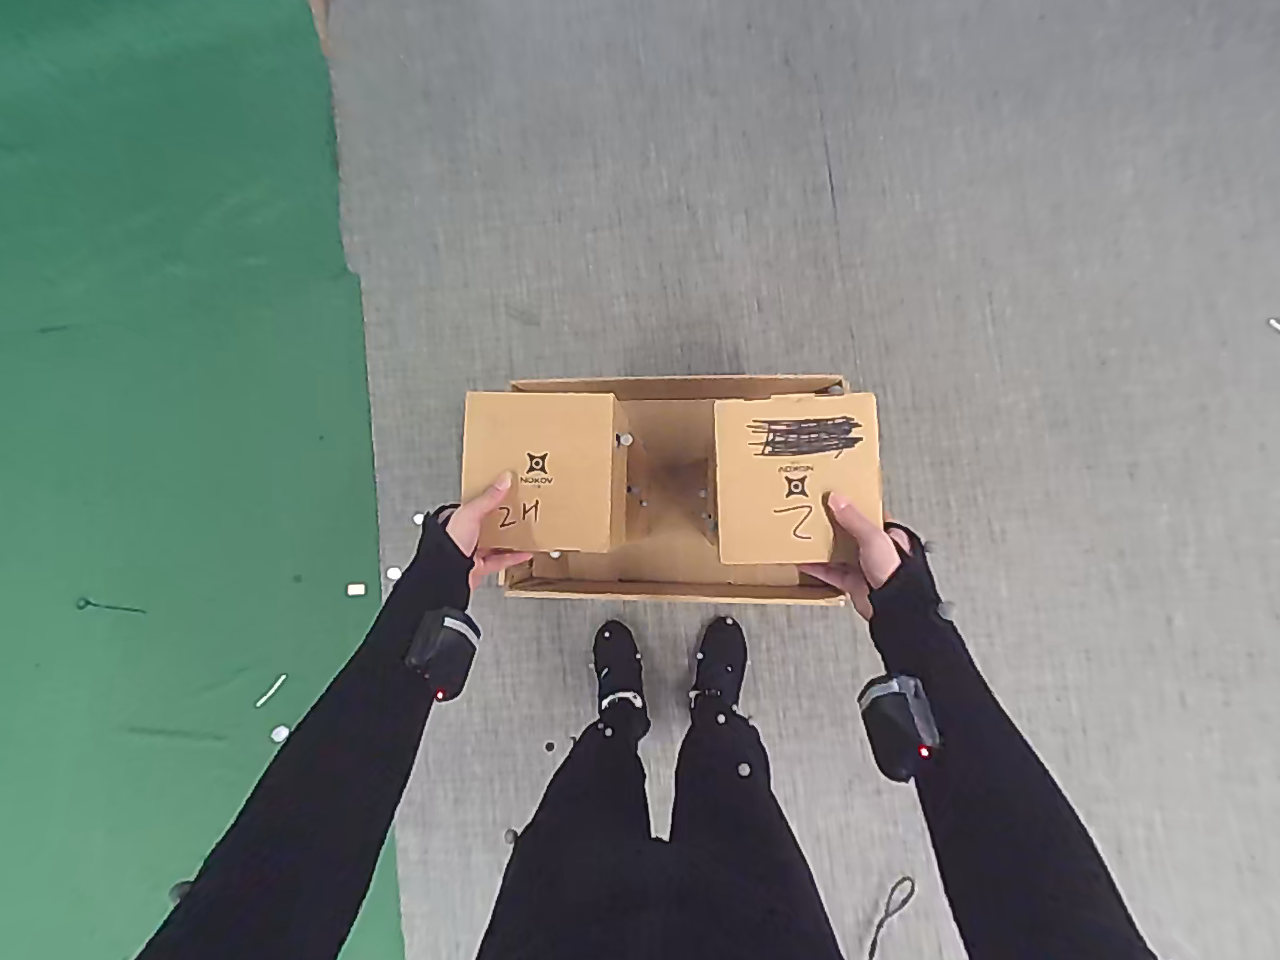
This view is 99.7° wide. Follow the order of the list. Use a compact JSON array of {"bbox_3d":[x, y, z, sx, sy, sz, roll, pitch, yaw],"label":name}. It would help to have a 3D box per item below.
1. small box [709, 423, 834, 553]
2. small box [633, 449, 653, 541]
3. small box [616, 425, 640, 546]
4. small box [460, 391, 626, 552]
[{"bbox_3d":[0.189,0.016,0.817,0.168,0.176,0.179,1,84,7],"label":"small box"},{"bbox_3d":[-0.075,0.028,1.020,0.179,0.176,0.168,3,86,7],"label":"small box"},{"bbox_3d":[-0.092,0.011,0.857,0.168,0.176,0.179,2,86,7],"label":"small box"},{"bbox_3d":[-0.108,-0.005,0.672,0.168,0.176,0.179,1,86,4],"label":"small box"}]
